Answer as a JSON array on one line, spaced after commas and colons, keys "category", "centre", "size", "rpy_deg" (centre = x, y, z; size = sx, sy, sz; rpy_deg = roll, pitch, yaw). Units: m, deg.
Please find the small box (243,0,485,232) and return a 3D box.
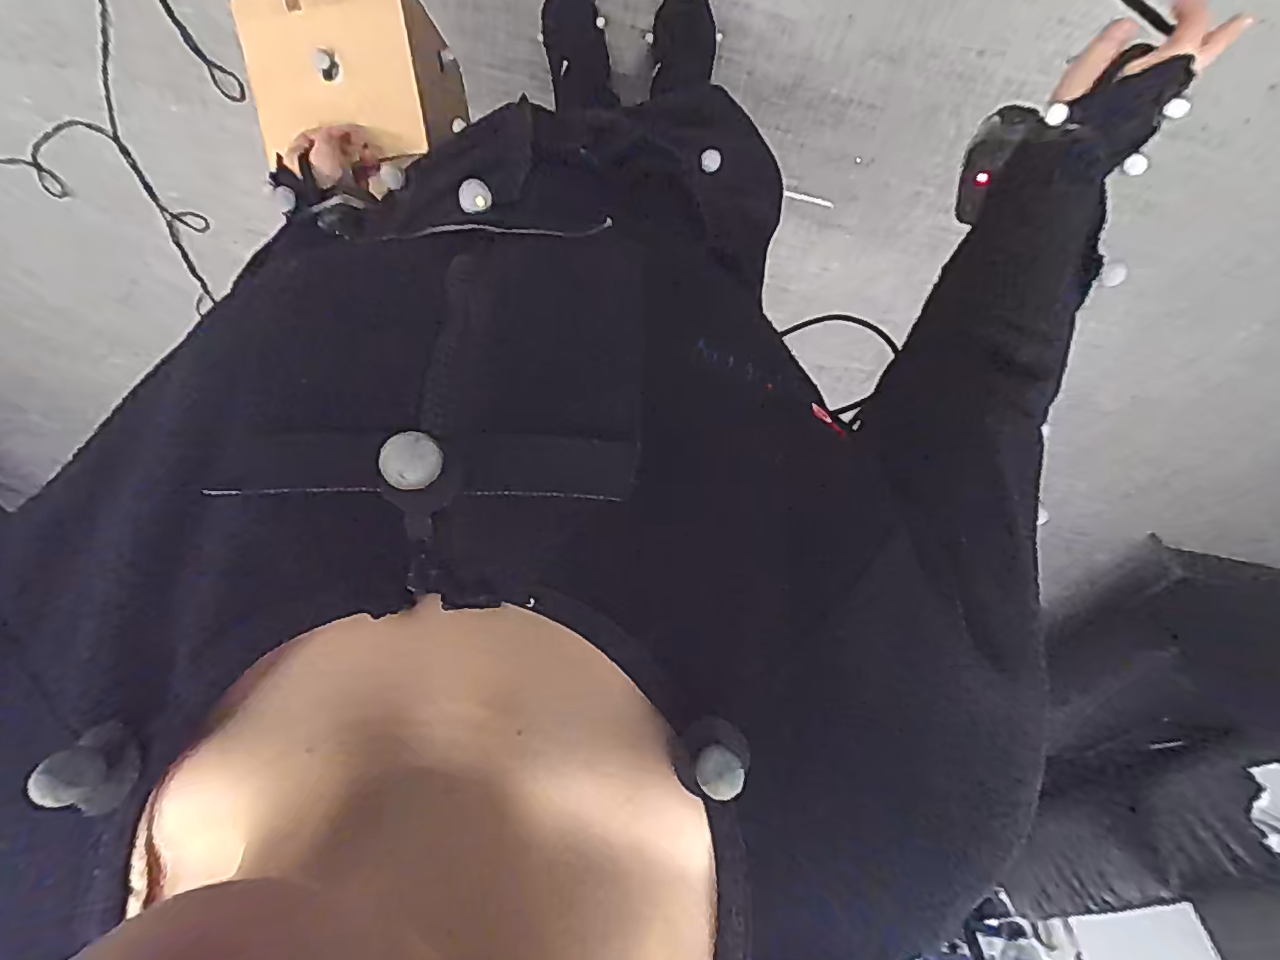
[{"category": "small box", "centre": [-0.296, -0.403, 0.610], "size": [0.168, 0.179, 0.176], "rpy_deg": [-8, 101, 3]}]
